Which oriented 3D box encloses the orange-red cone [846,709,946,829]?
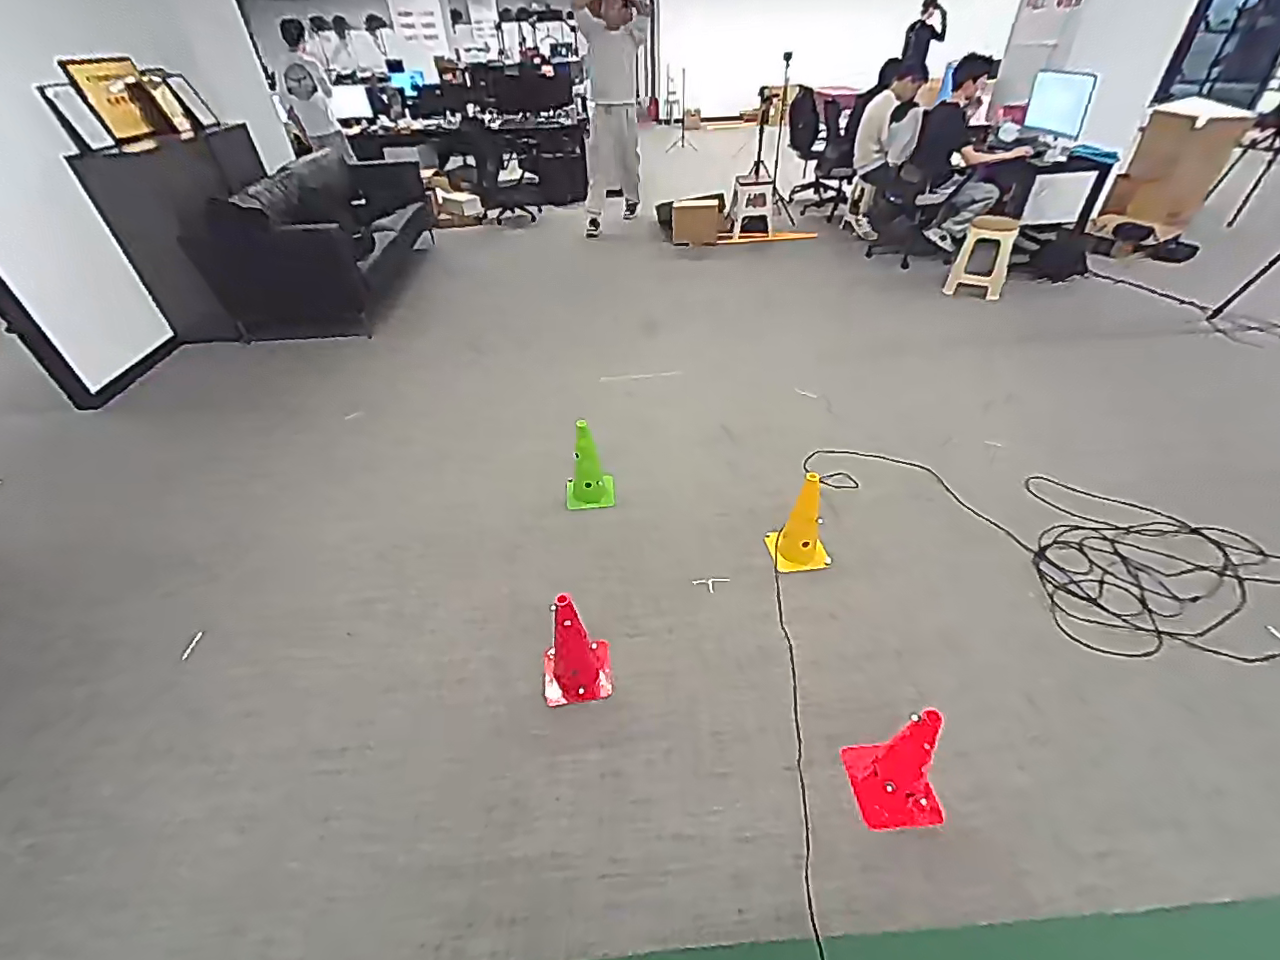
[{"bbox_3d":[0.640,0.643,1.270,0.198,0.360,0.199,-3,38,-2],"label":"orange-red cone"}]

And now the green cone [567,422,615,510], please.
[{"bbox_3d":[-0.213,-0.072,2.205,0.202,0.368,0.200,-4,40,-3],"label":"green cone"}]

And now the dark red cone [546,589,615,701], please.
[{"bbox_3d":[-0.190,0.445,1.534,0.202,0.394,0.201,-8,41,-6],"label":"dark red cone"}]
